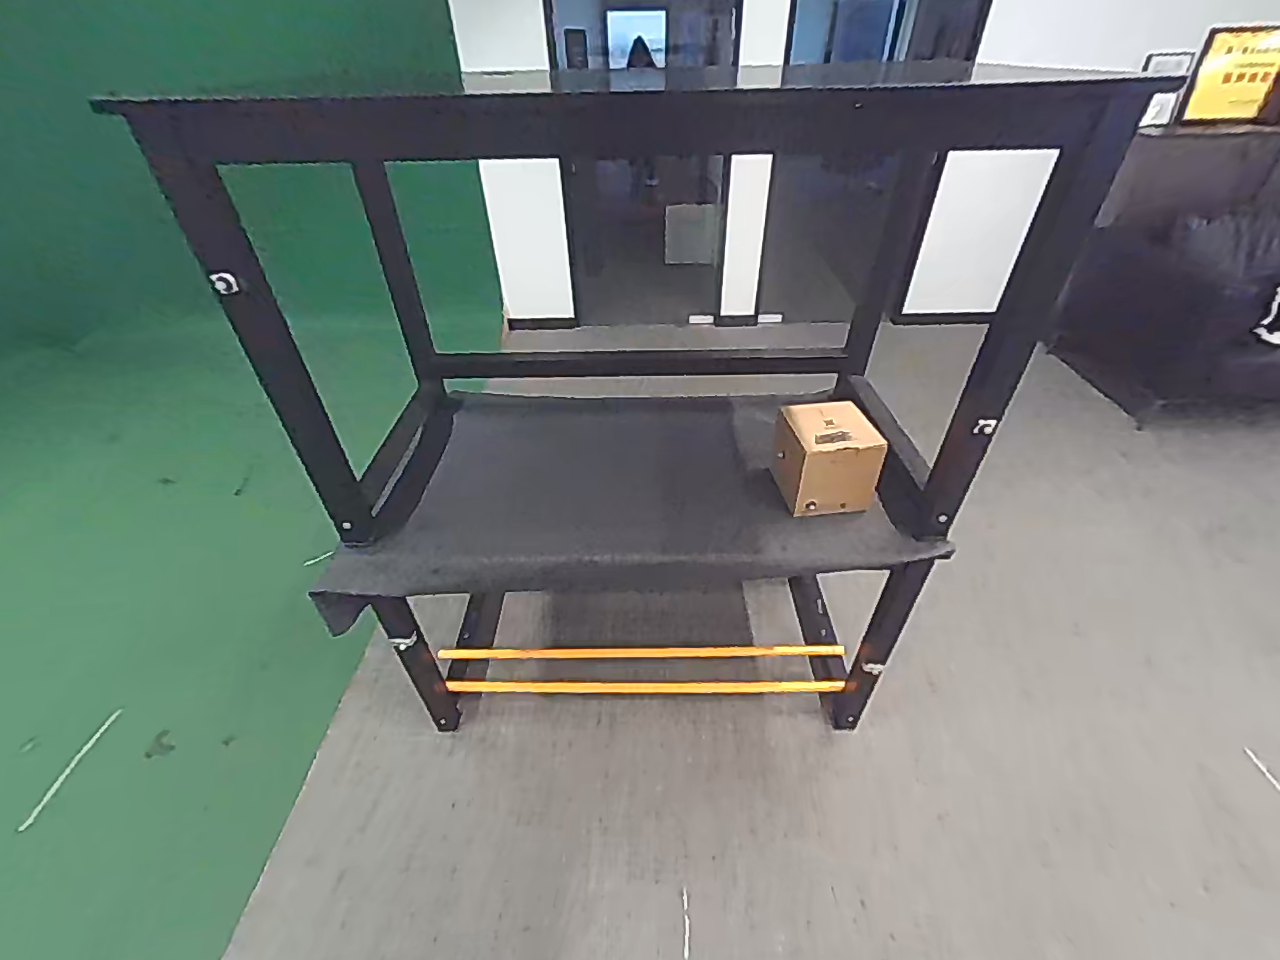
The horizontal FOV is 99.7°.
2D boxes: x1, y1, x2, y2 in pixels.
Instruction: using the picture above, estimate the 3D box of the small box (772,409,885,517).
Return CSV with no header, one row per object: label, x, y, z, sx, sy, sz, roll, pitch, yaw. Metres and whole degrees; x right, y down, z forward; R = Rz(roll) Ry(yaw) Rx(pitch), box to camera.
small box,0.392,-0.032,1.156,0.168,0.176,0.179,-5,37,-4
